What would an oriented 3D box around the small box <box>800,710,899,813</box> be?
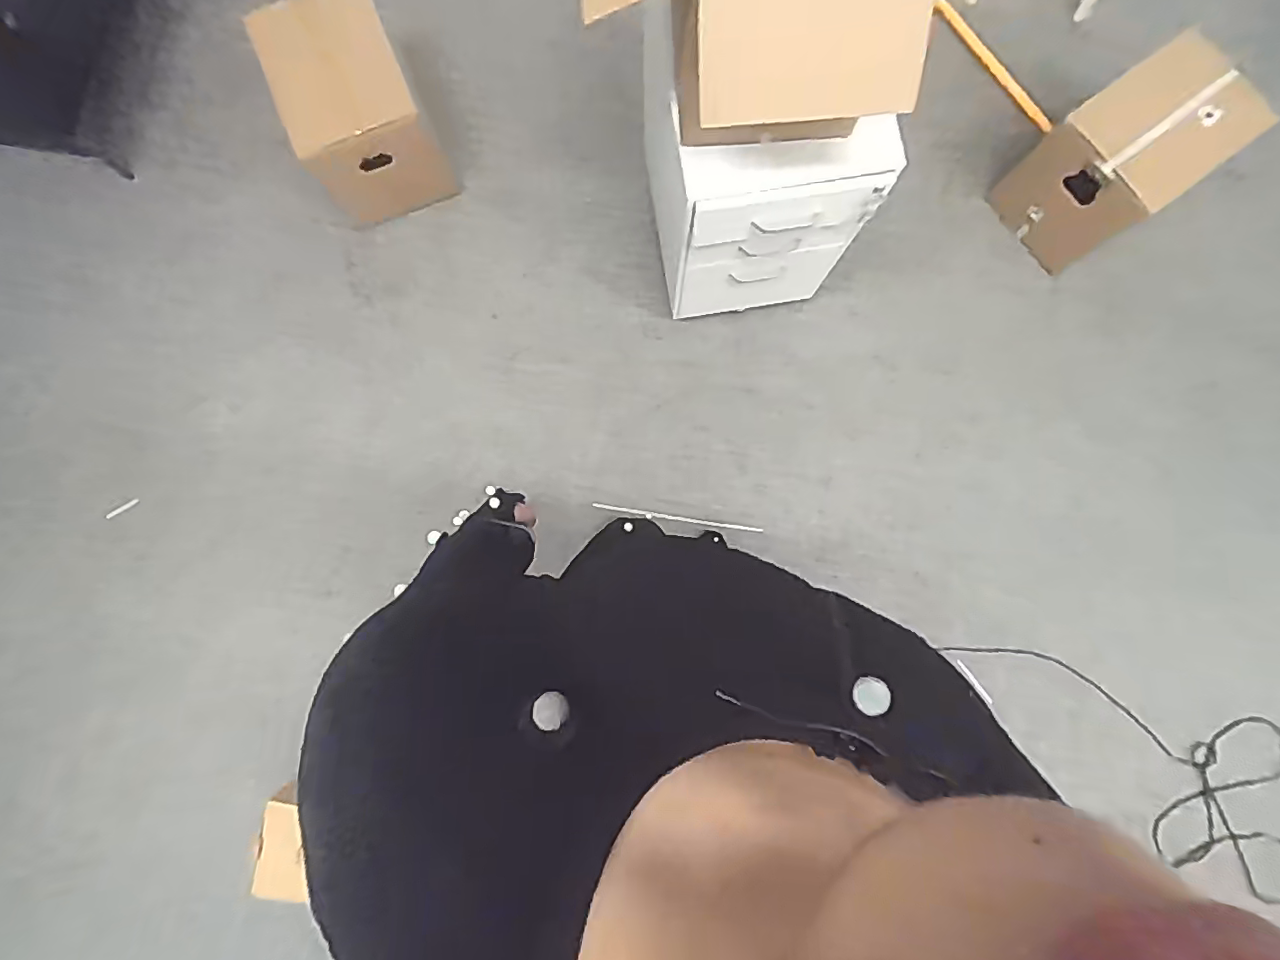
[{"bbox_3d":[0.516,0.695,1.355,0.179,0.176,0.168,11,84,1],"label":"small box"}]
